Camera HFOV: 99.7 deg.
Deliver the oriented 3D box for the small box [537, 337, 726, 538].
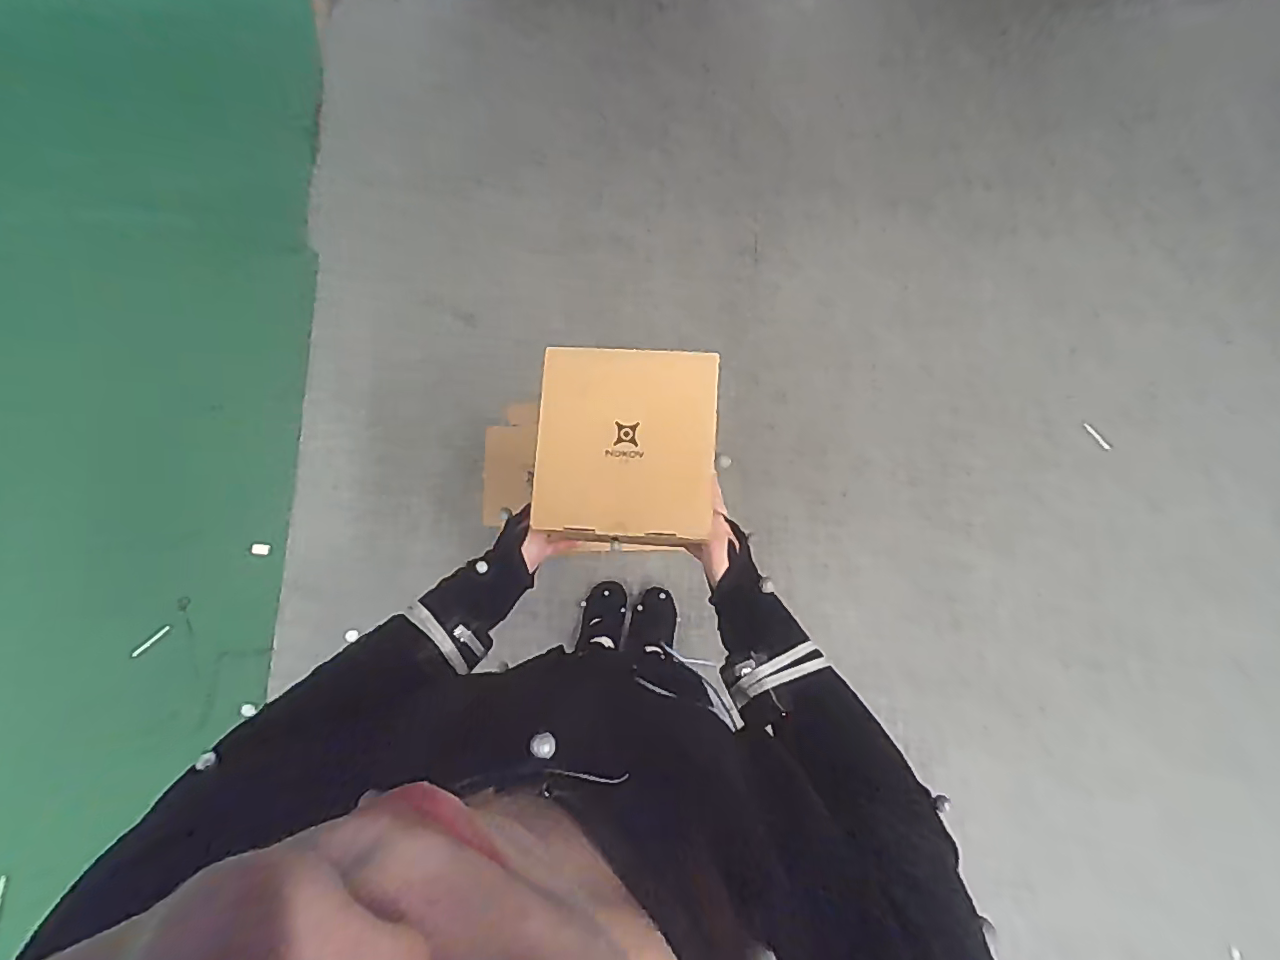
[{"bbox_3d":[-0.004,-0.034,0.577,0.168,0.176,0.179,3,82,3],"label":"small box"}]
